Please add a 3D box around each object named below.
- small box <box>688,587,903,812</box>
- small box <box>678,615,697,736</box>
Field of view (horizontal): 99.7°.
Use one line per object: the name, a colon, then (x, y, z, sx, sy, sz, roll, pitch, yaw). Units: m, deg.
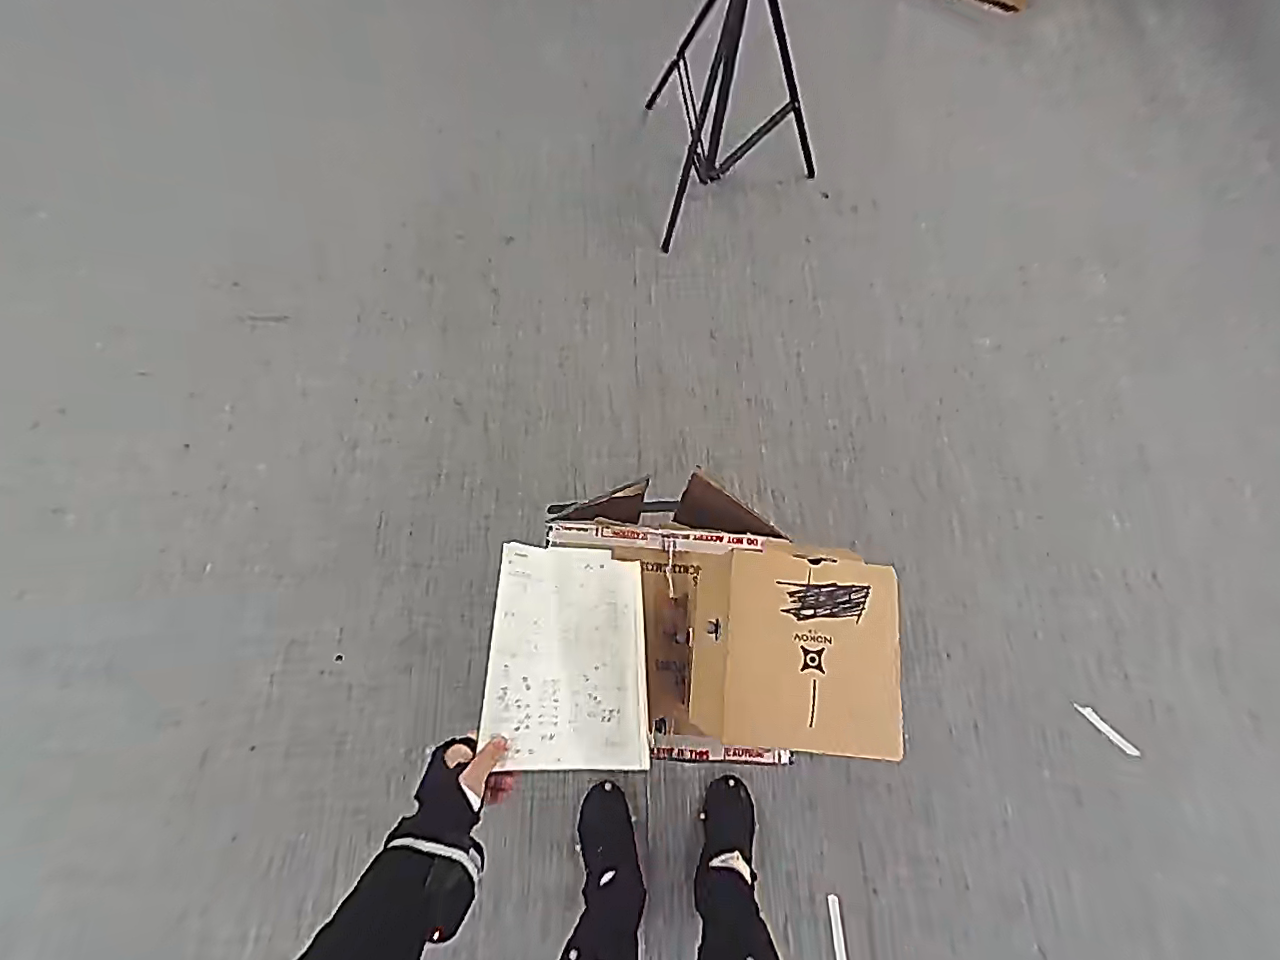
small box: (0.148, 0.217, 0.563, 0.168, 0.176, 0.179, 7, 73, -3)
small box: (0.154, 0.264, 0.721, 0.179, 0.176, 0.168, 5, 72, -4)
